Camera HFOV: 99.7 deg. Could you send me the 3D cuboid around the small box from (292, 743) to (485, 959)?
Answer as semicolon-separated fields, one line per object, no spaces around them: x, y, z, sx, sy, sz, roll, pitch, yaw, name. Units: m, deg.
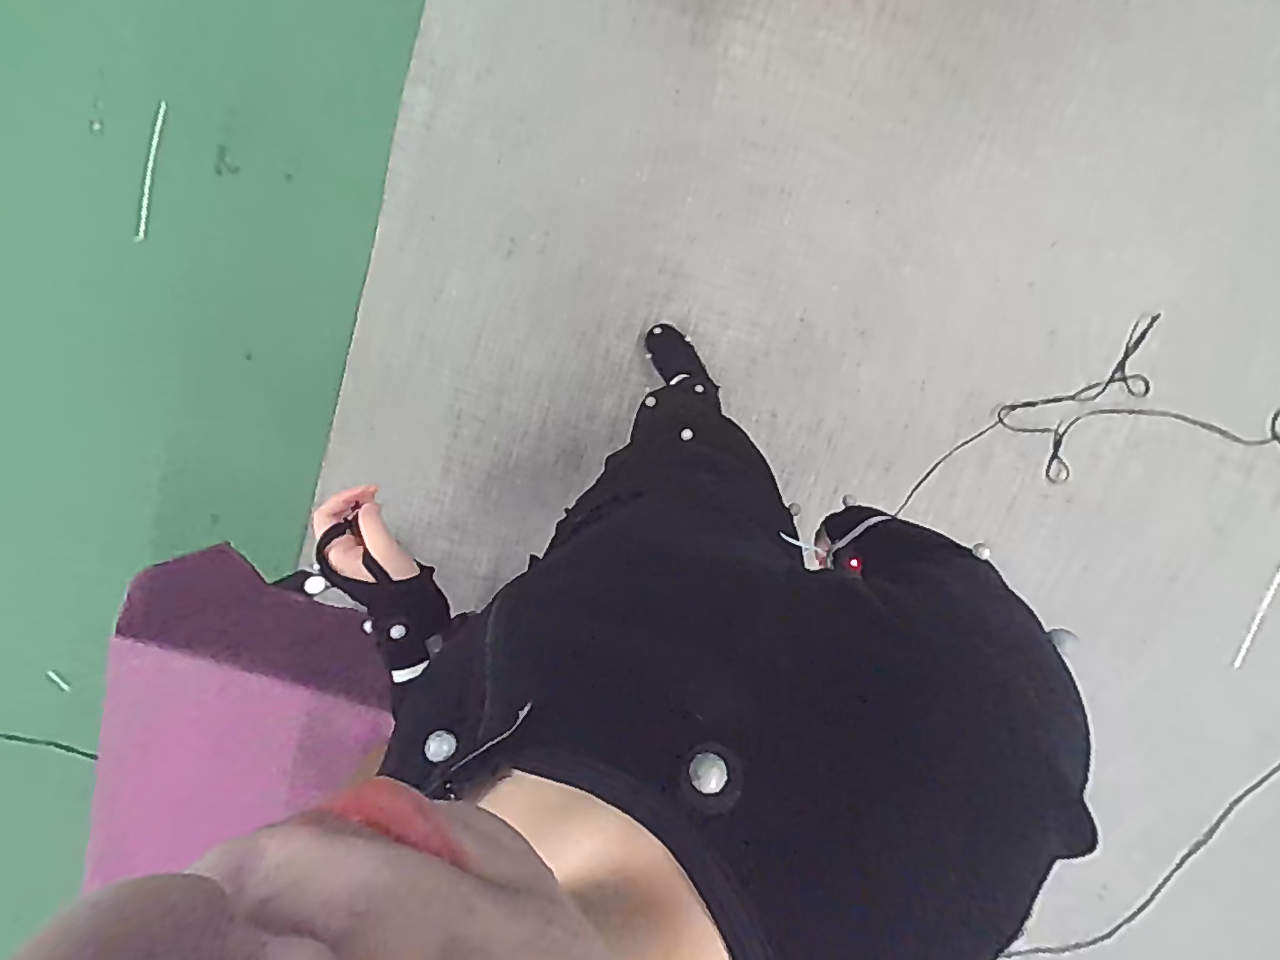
-0.342;0.510;0.767;0.179;0.176;0.168;17;99;2;small box
